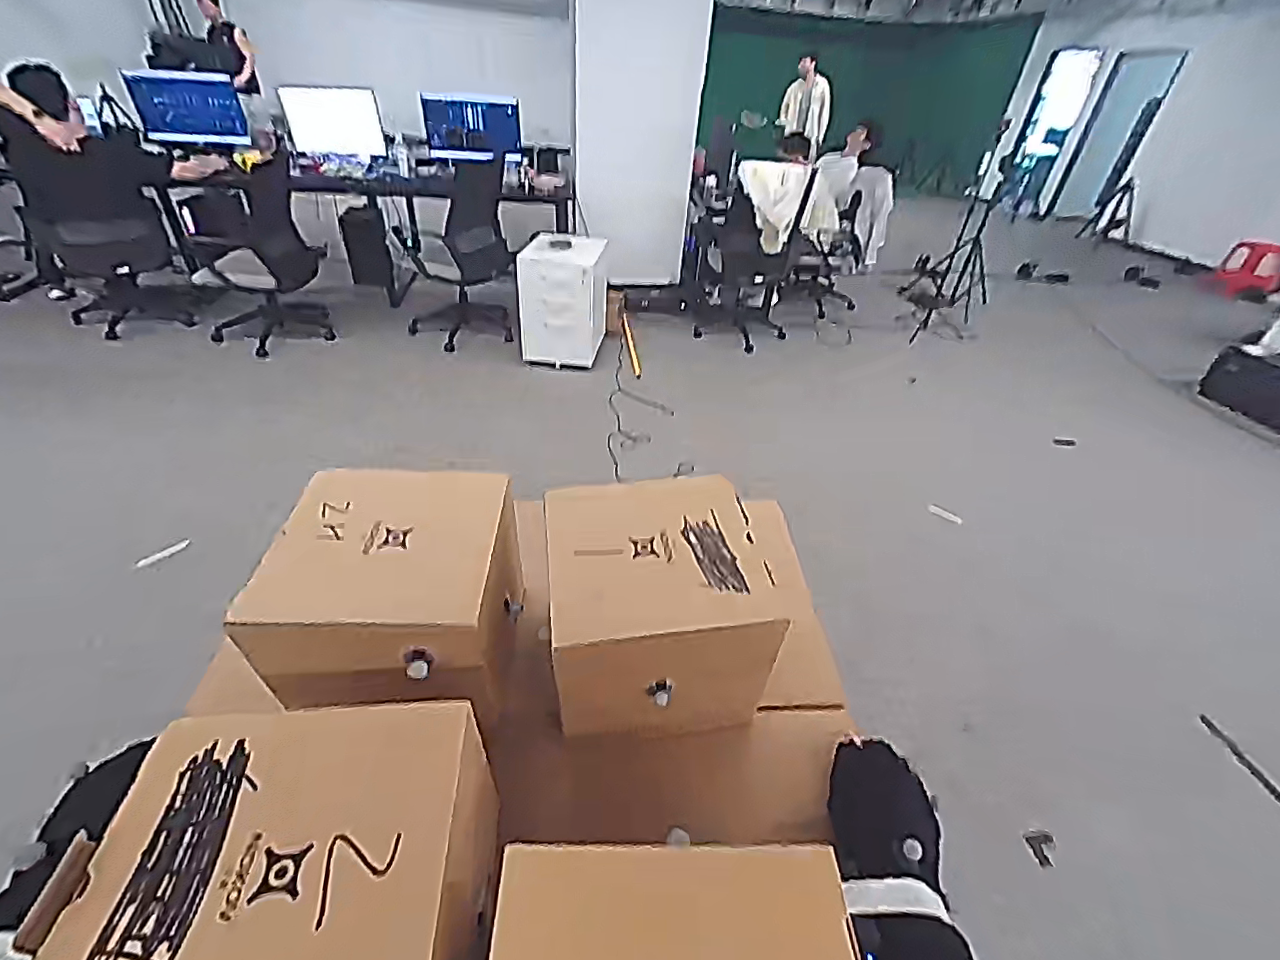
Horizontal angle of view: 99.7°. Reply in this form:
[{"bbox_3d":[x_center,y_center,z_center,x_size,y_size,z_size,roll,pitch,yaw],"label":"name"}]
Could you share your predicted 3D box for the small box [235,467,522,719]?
[{"bbox_3d":[-0.212,0.106,0.505,0.179,0.176,0.168,1,41,-3],"label":"small box"}]
